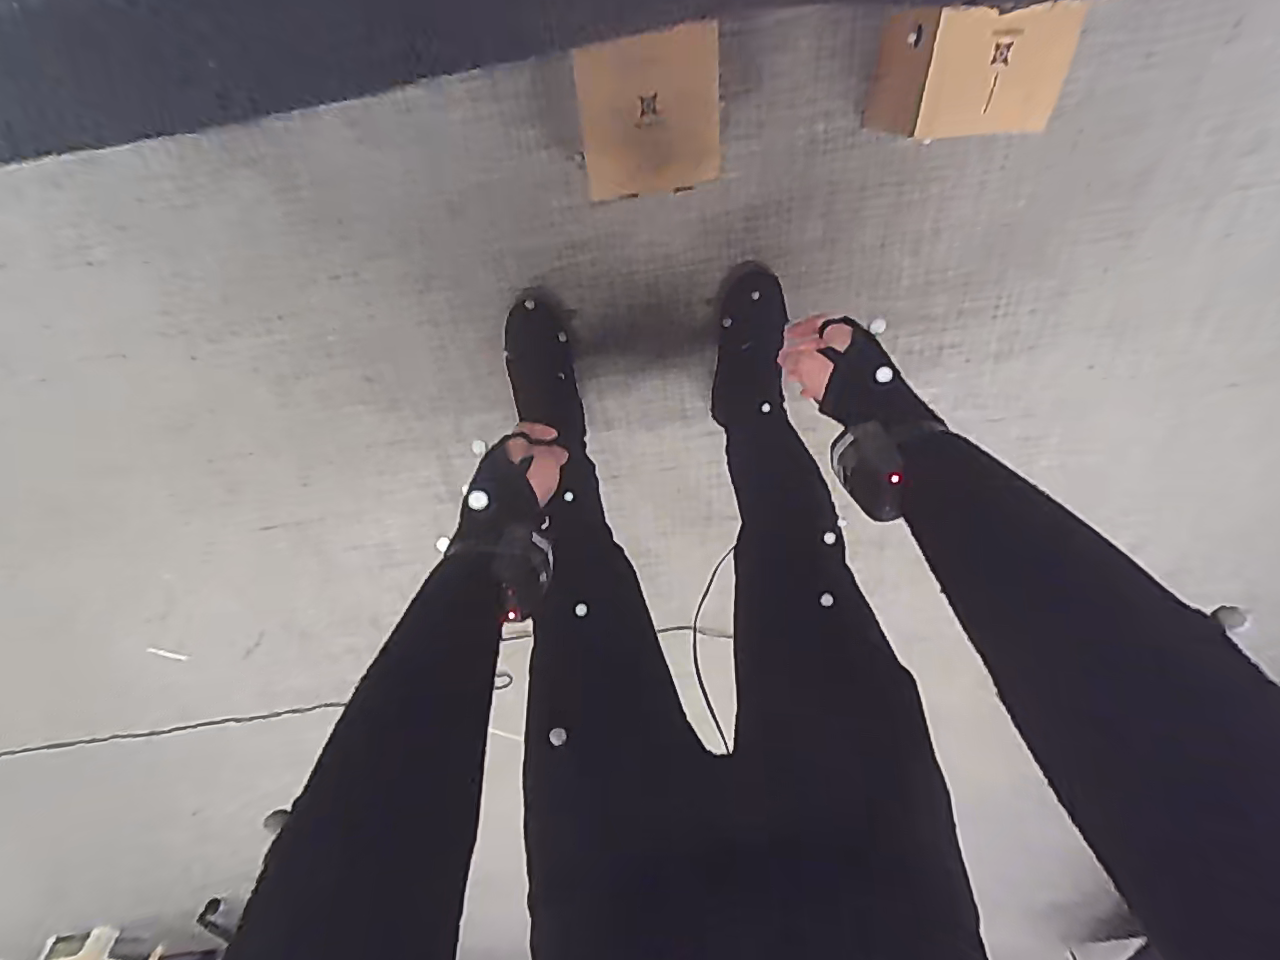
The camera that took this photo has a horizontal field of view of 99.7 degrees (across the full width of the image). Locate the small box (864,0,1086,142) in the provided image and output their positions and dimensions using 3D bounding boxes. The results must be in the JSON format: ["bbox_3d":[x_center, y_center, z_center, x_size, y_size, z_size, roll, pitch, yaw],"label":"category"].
[{"bbox_3d":[0.398,-0.530,0.668,0.168,0.176,0.179,-4,126,0],"label":"small box"}]

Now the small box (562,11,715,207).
[{"bbox_3d":[0.001,-0.470,0.698,0.168,0.176,0.179,-8,123,1],"label":"small box"}]
